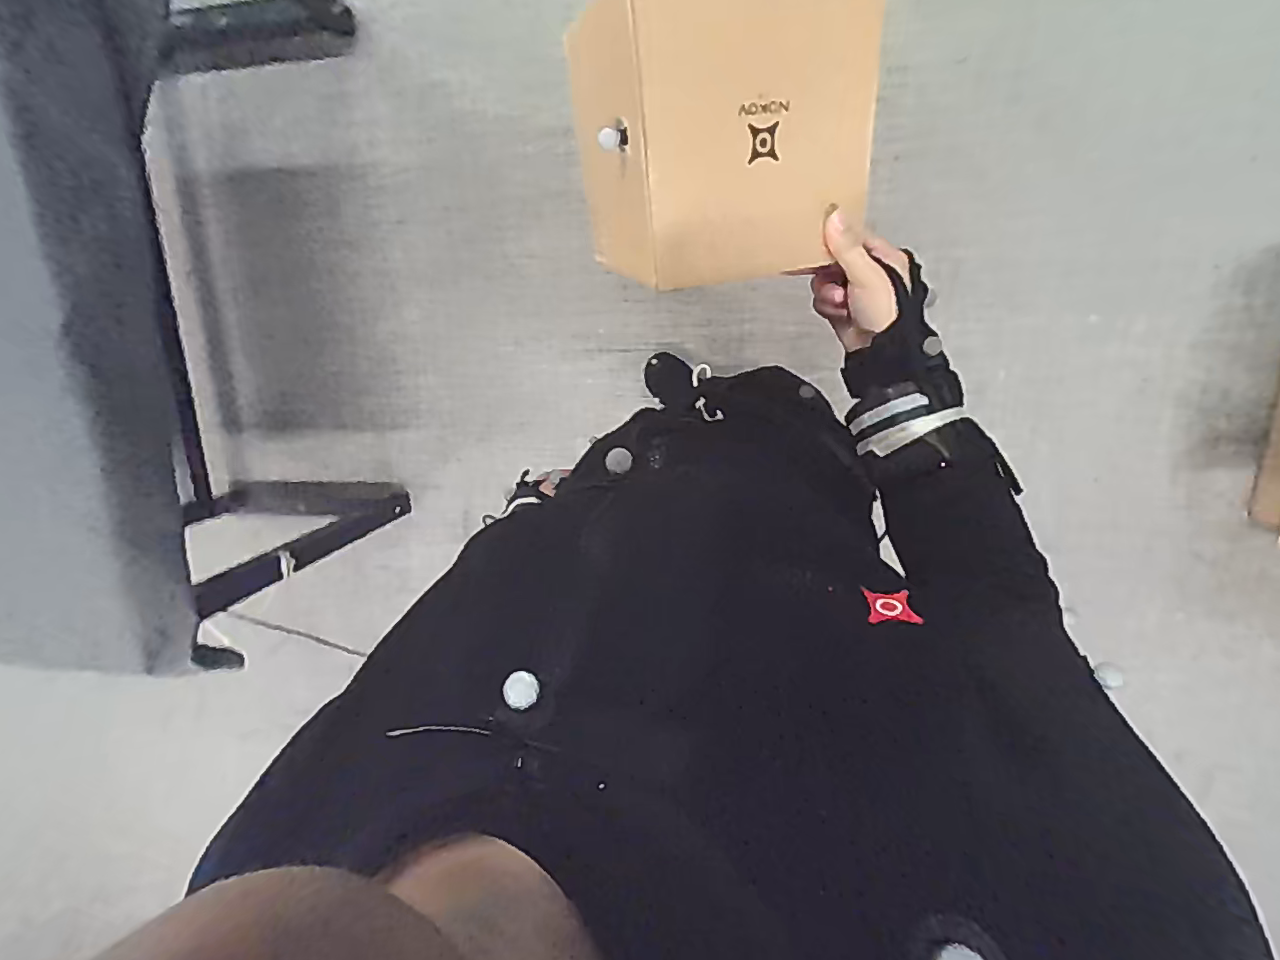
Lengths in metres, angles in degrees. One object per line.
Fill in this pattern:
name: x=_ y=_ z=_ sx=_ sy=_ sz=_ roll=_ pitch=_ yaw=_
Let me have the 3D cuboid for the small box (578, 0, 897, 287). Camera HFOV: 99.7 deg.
small box: x=0.058 y=-0.257 z=0.407 sx=0.168 sy=0.176 sz=0.179 roll=-14 pitch=119 yaw=-13
